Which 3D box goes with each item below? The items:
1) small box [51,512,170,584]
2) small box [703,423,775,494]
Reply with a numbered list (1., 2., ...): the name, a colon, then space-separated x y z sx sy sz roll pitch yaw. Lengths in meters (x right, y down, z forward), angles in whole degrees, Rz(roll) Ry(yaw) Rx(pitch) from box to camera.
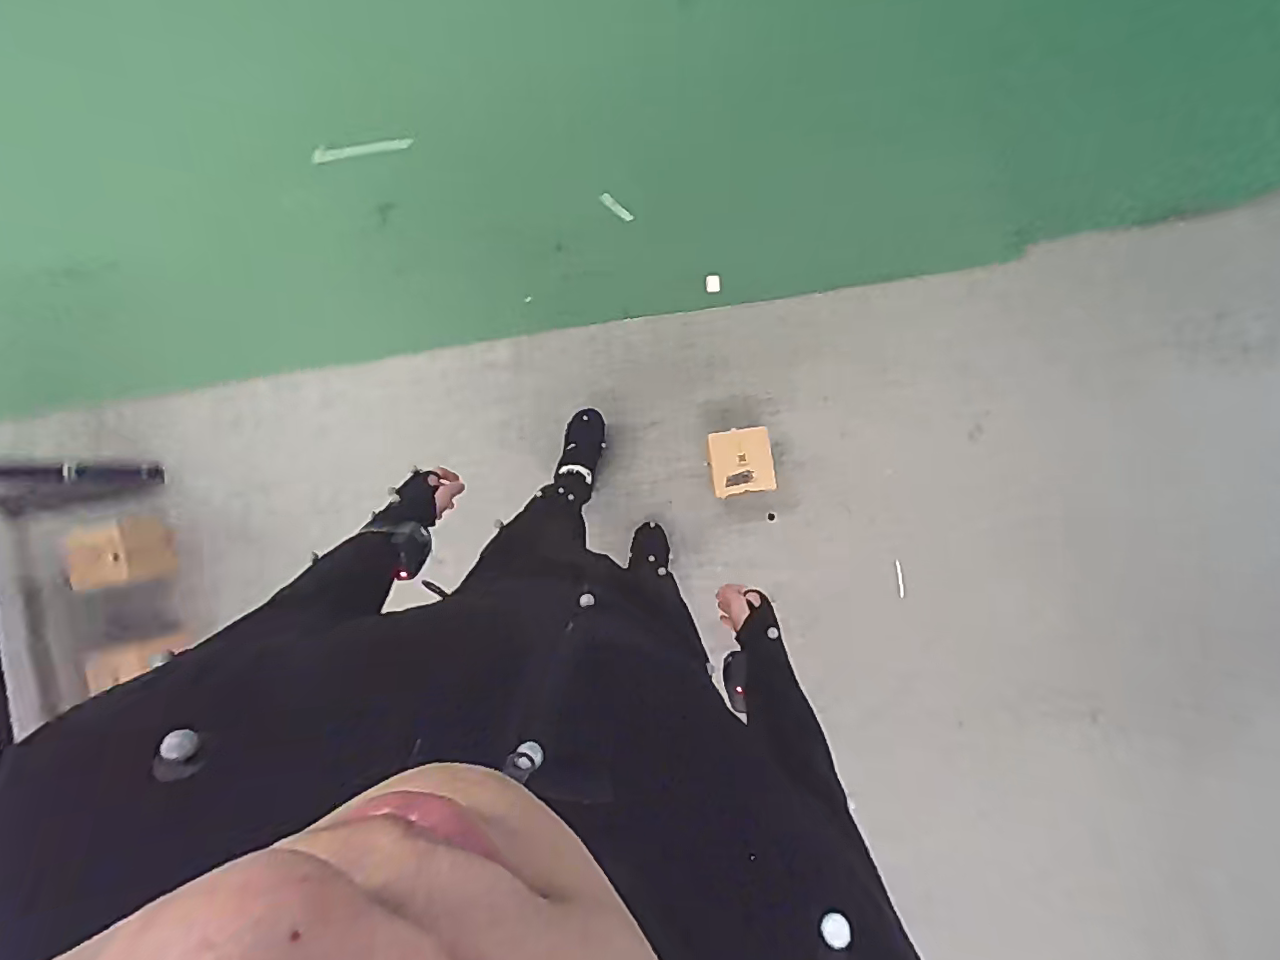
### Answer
1. small box: -1.565 0.197 1.607 0.179 0.176 0.168 -15 90 3
2. small box: 0.273 -0.059 1.522 0.168 0.176 0.179 -7 89 2
